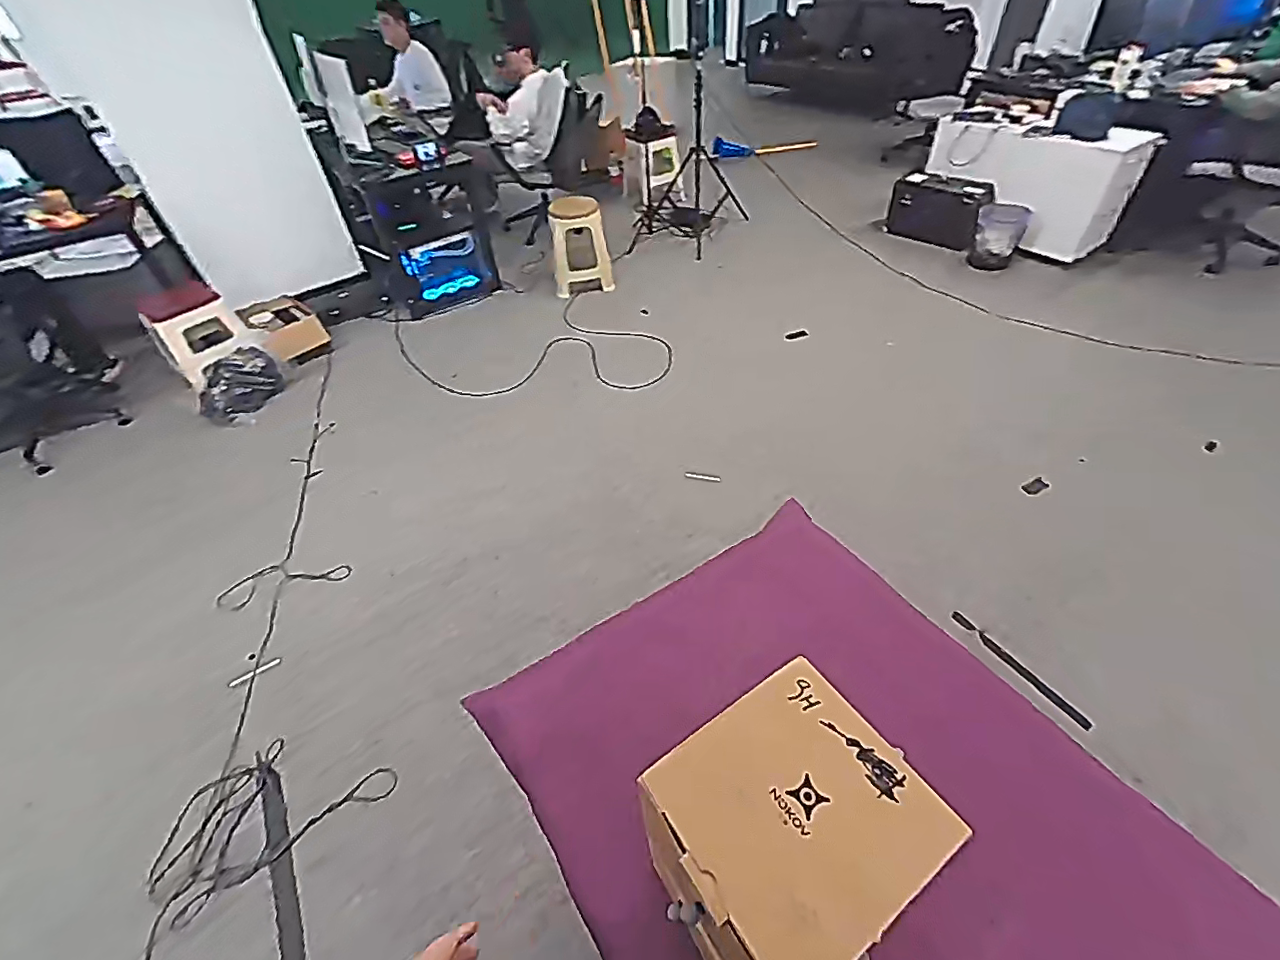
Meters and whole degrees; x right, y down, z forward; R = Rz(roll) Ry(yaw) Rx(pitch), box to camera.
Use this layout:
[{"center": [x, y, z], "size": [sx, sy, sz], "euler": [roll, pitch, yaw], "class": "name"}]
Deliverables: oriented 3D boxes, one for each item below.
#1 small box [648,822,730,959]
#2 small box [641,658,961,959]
[{"center": [0.127, 0.416, 0.571], "size": [0.179, 0.176, 0.168], "euler": [-25, 49, -21], "class": "small box"}, {"center": [0.121, 0.296, 0.459], "size": [0.179, 0.176, 0.168], "euler": [-27, 50, -21], "class": "small box"}]
